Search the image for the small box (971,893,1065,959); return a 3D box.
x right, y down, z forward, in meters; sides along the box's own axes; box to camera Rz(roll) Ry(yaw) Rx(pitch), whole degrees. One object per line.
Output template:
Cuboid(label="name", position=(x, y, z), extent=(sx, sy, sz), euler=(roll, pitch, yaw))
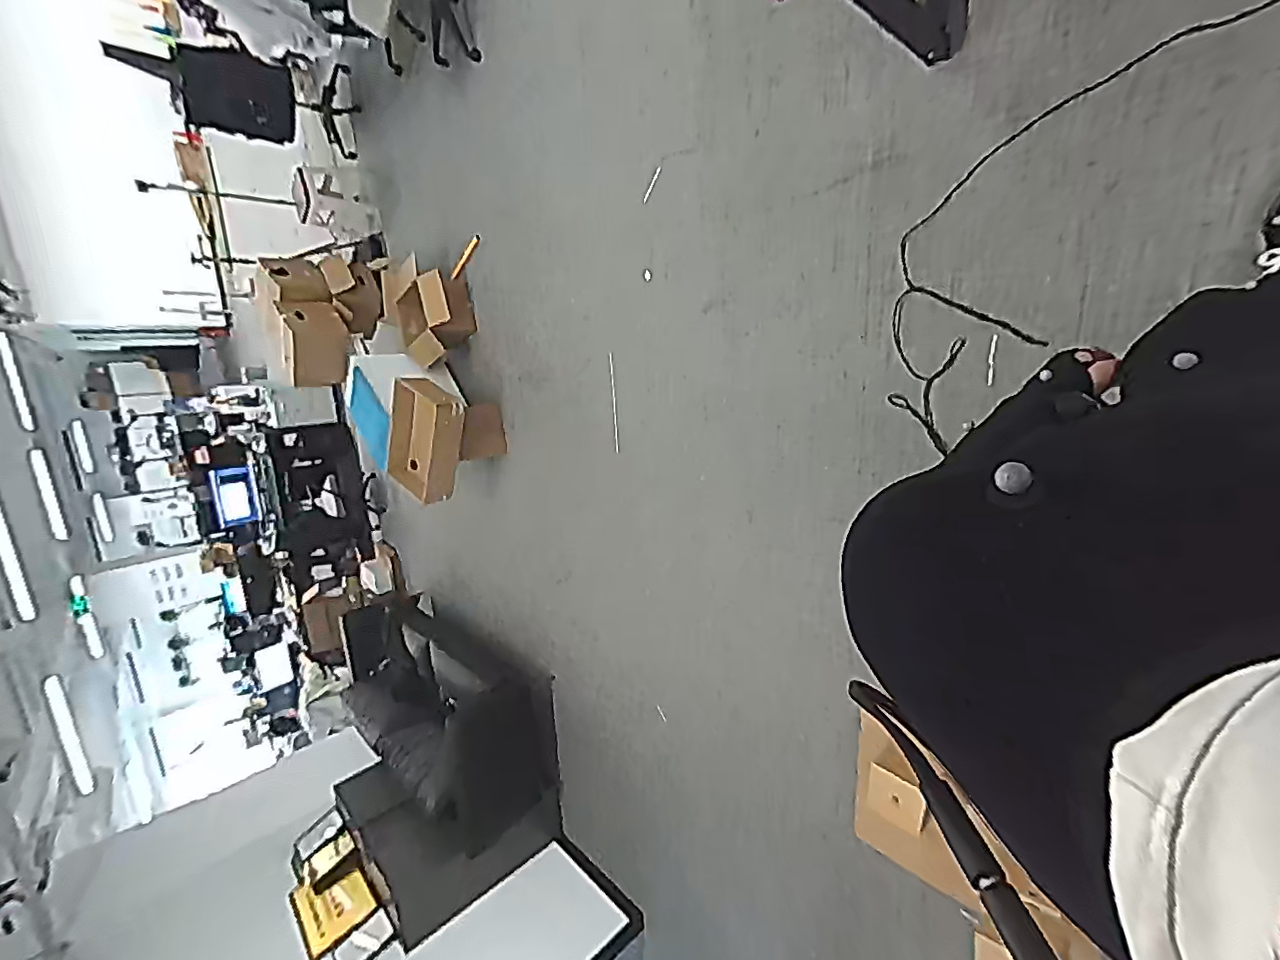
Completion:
Cuboid(label="small box", position=(0.960, 1.217, 1.374), extent=(0.168, 0.176, 0.179), euler=(5, 105, 48))

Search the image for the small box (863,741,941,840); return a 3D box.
Cuboid(label="small box", position=(0.826, 0.964, 1.699), extent=(0.168, 0.176, 0.179), euler=(16, 113, 44))

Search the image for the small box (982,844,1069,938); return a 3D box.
Cuboid(label="small box", position=(1.067, 1.169, 1.493), extent=(0.168, 0.176, 0.179), euler=(3, 103, 48))
